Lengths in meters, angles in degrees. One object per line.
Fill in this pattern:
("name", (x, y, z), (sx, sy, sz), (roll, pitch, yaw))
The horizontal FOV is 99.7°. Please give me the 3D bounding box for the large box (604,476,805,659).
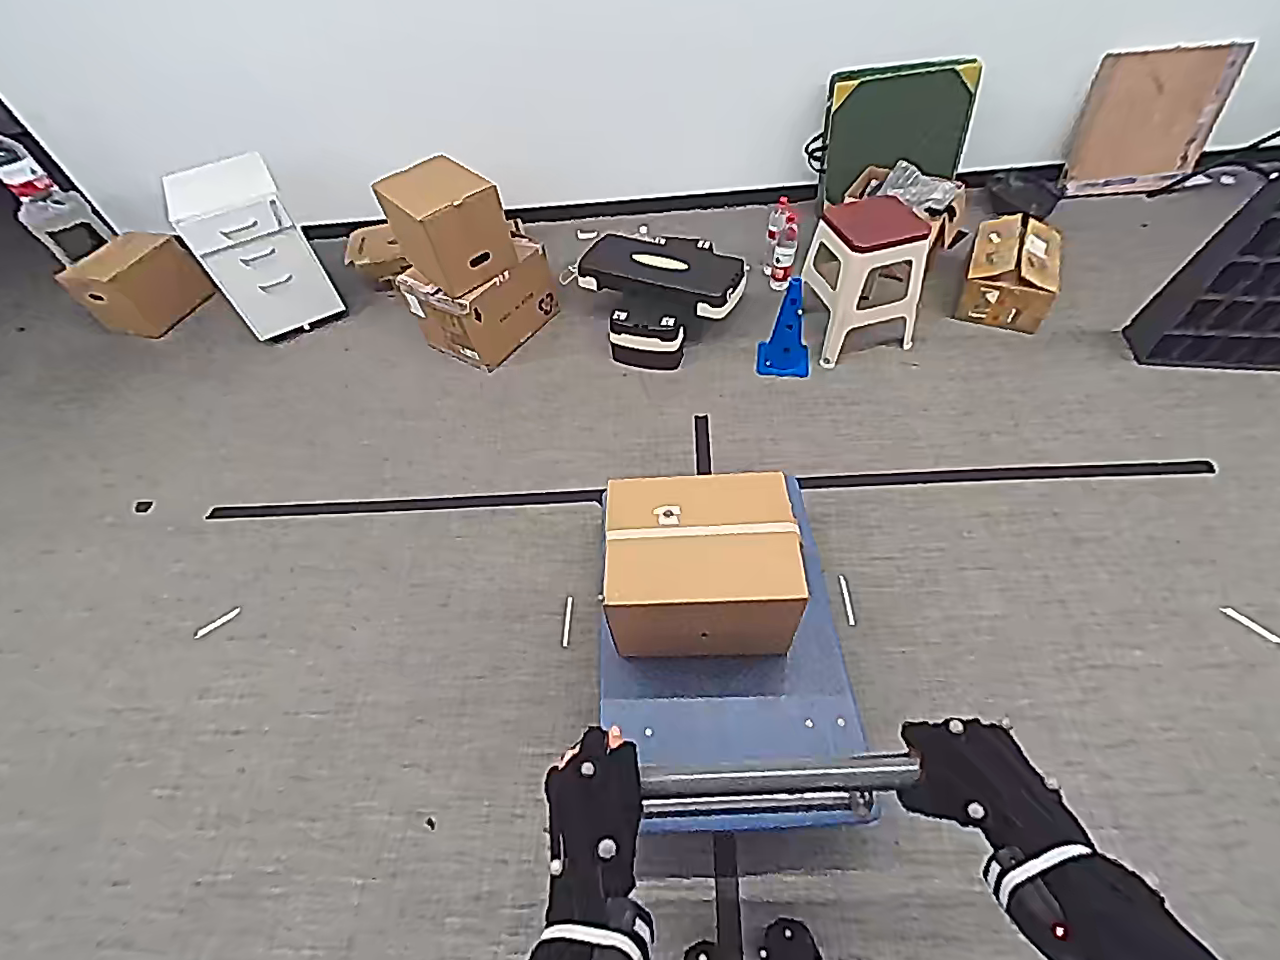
("large box", (0.138, 0.216, 1.272), (0.408, 0.320, 0.320), (-4, 52, 4))
